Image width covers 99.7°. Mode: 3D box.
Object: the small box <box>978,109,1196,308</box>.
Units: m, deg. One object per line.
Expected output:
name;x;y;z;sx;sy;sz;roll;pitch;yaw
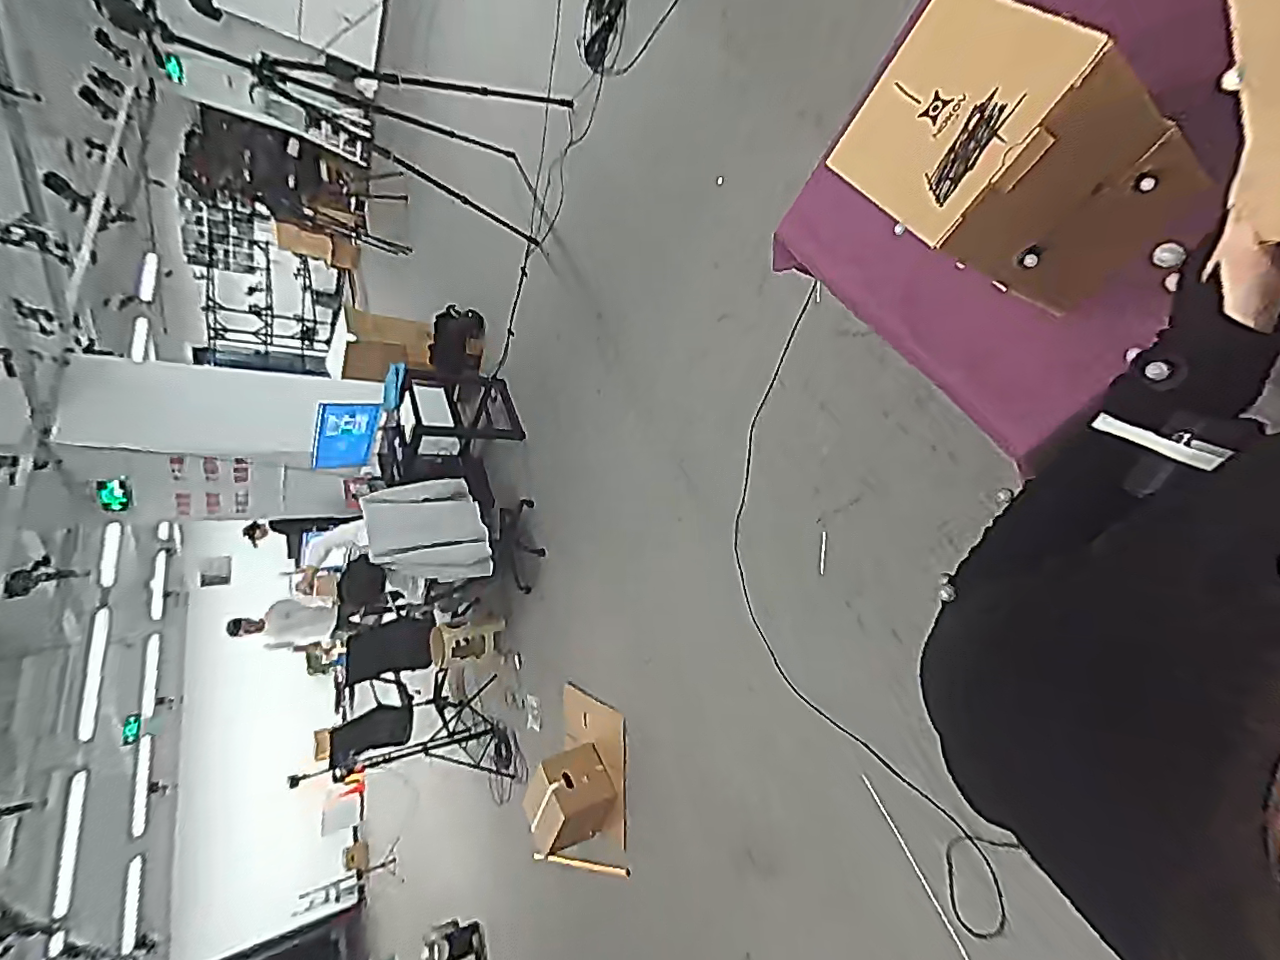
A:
small box;0.474;-0.326;0.628;0.179;0.176;0.168;-55;48;38

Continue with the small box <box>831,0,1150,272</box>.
small box;0.338;-0.329;0.535;0.168;0.176;0.179;-55;46;38
